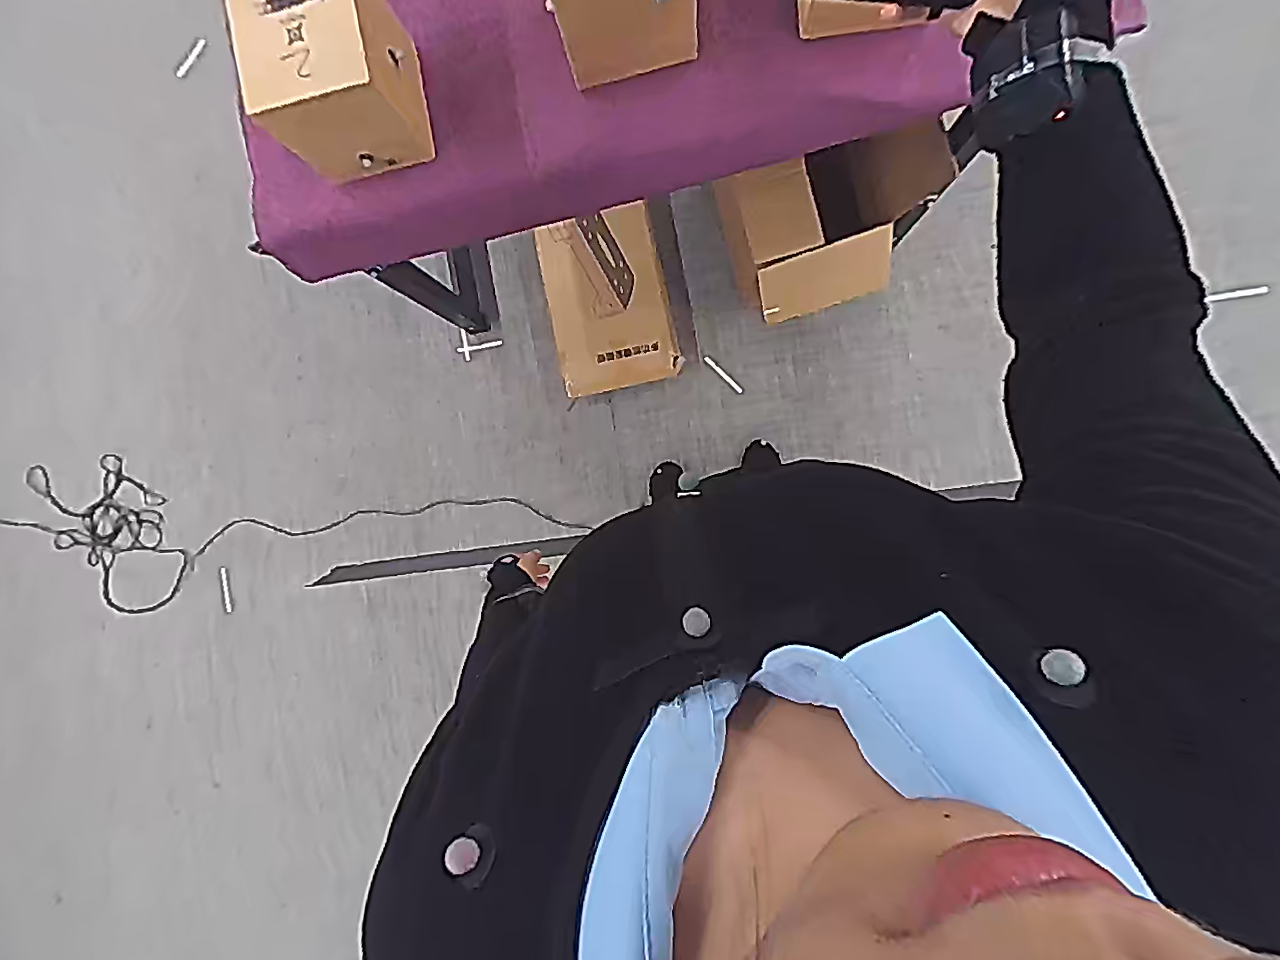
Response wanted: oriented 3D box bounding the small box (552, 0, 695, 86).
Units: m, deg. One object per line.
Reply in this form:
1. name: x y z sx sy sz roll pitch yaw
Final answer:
1. small box: -0.027 -0.650 0.681 0.179 0.176 0.168 -11 88 6

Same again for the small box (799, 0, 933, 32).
1. small box: 0.288 -0.687 0.648 0.179 0.176 0.168 -4 91 6
